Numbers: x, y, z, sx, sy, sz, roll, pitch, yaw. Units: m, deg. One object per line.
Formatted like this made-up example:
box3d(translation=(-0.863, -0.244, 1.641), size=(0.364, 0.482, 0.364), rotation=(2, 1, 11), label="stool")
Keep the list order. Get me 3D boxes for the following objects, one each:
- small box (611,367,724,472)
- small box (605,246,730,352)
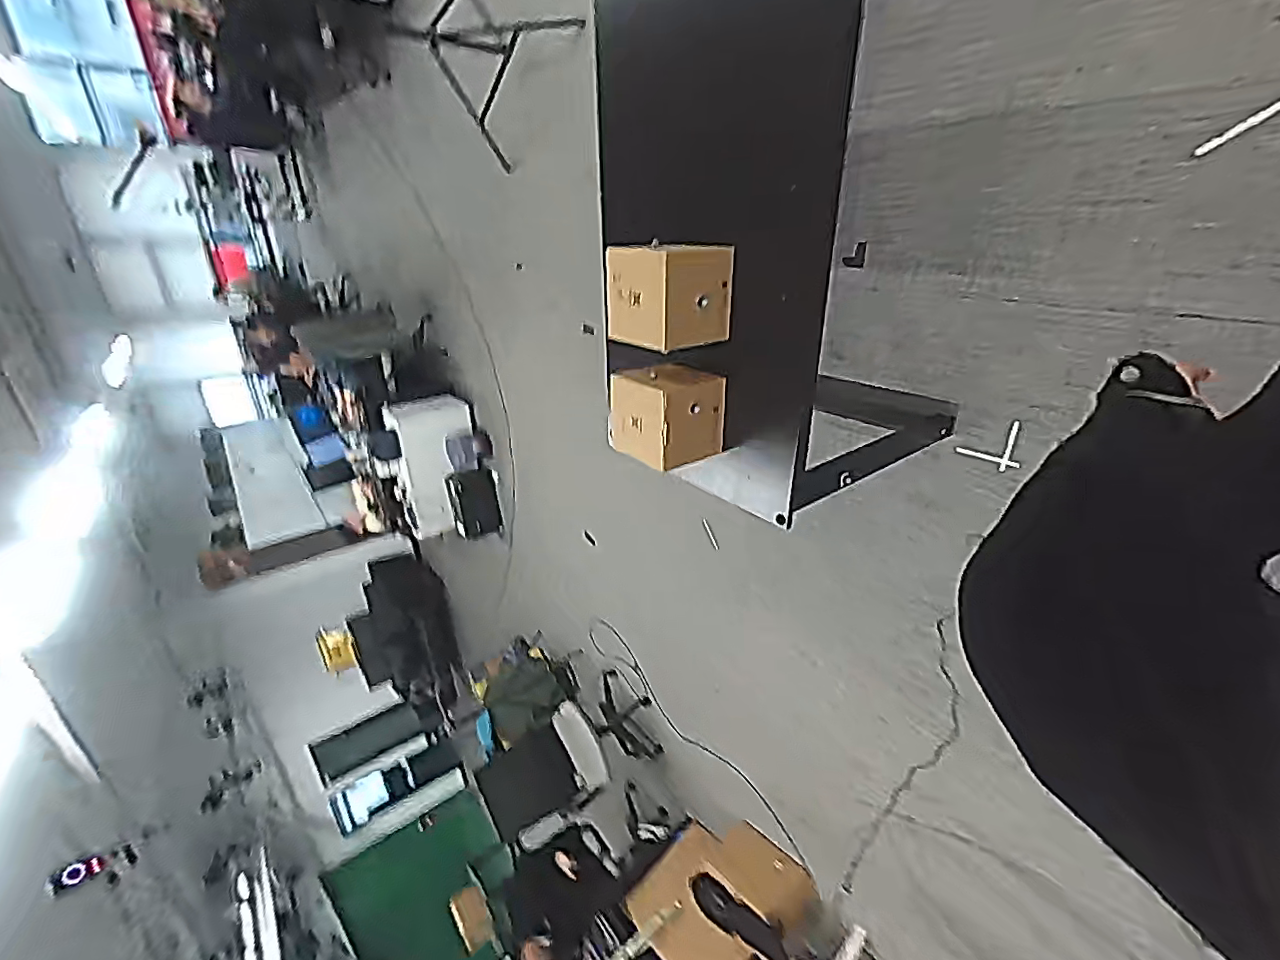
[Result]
box3d(translation=(0.058, -0.136, 1.134), size=(0.179, 0.176, 0.168), rotation=(28, 126, 47), label="small box")
box3d(translation=(0.053, -0.351, 1.028), size=(0.179, 0.176, 0.168), rotation=(29, 128, 46), label="small box")
